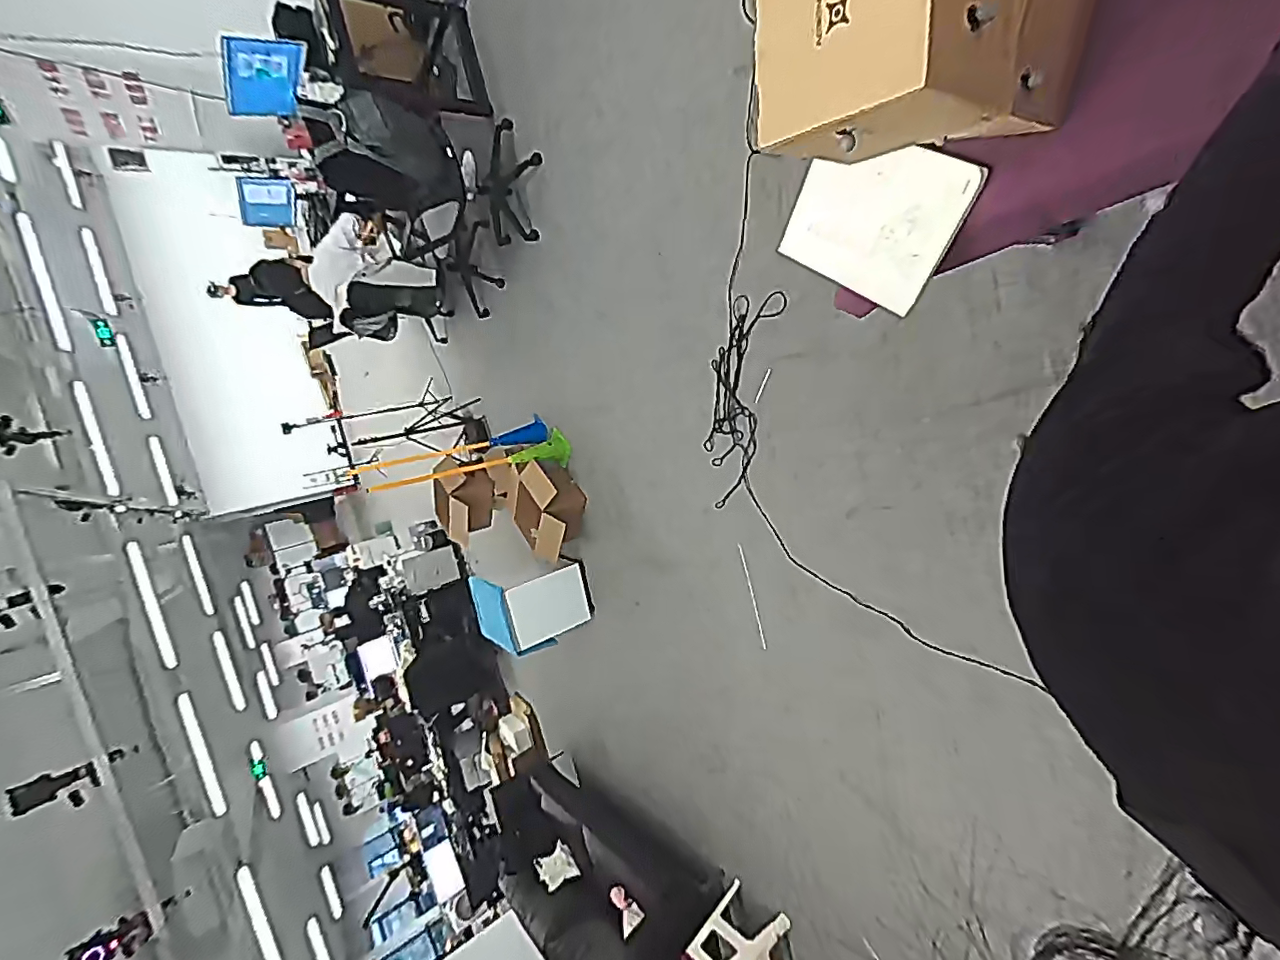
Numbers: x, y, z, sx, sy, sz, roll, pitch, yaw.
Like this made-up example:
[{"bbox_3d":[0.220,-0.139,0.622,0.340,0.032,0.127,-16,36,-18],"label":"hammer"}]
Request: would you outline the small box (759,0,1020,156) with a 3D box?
[{"bbox_3d":[0.236,-0.425,0.511,0.179,0.176,0.168,18,119,53],"label":"small box"}]
